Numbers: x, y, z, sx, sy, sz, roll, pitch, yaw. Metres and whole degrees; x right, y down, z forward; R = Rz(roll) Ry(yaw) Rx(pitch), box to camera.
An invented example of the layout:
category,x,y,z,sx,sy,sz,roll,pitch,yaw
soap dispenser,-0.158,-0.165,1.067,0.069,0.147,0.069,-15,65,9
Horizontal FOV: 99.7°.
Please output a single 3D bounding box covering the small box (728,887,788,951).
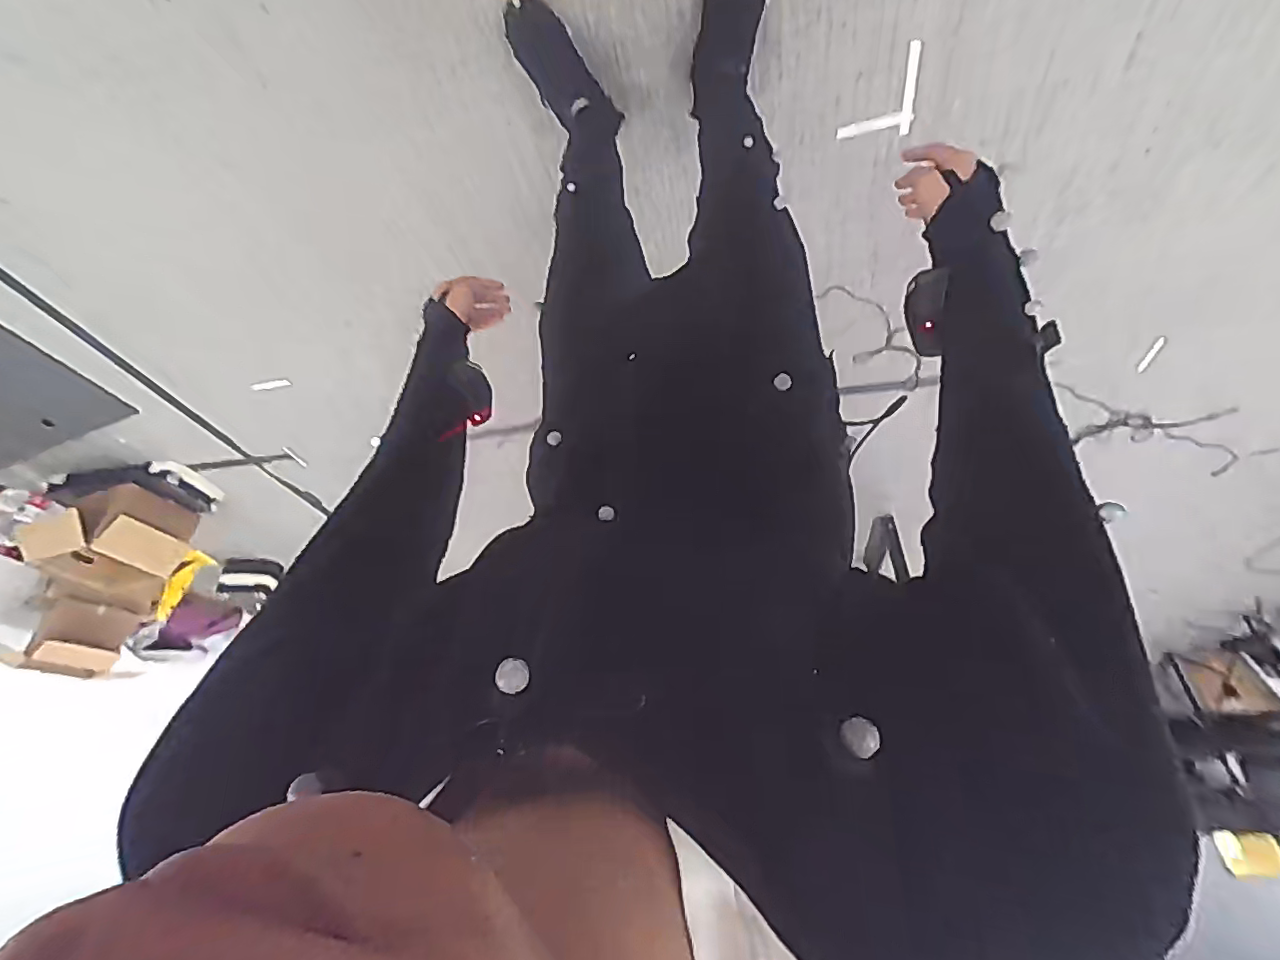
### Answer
category,x,y,z,sx,sy,sz,roll,pitch,yaw
small box,0.438,1.646,2.032,0.179,0.176,0.168,4,146,-3
